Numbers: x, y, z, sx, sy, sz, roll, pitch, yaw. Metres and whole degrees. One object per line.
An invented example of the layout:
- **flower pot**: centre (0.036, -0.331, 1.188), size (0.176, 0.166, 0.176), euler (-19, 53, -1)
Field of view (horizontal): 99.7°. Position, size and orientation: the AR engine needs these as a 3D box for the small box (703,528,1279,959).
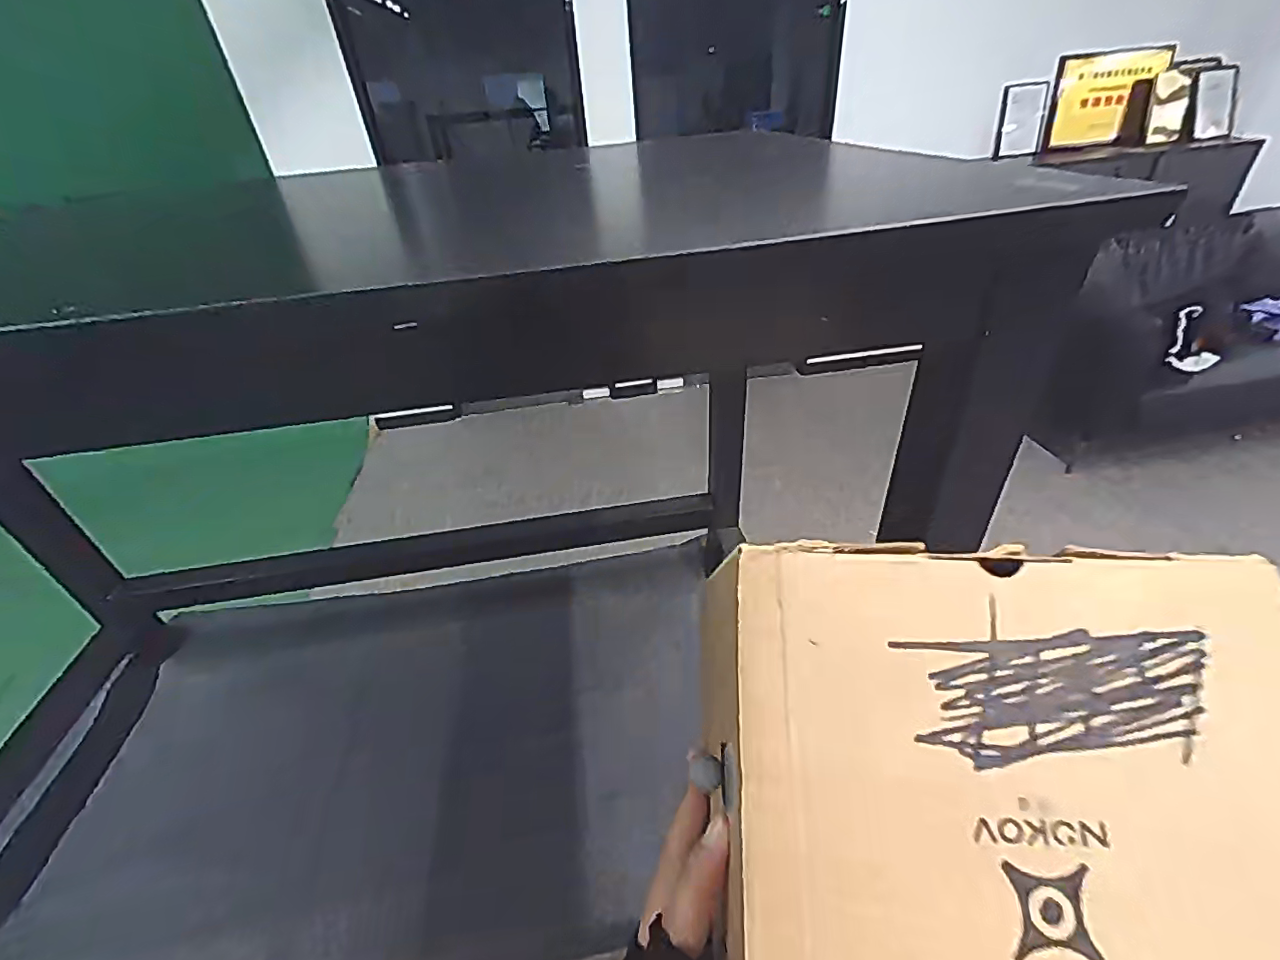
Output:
- **small box**: centre (0.114, 0.125, 0.223), size (0.168, 0.176, 0.179), euler (1, 73, 3)
